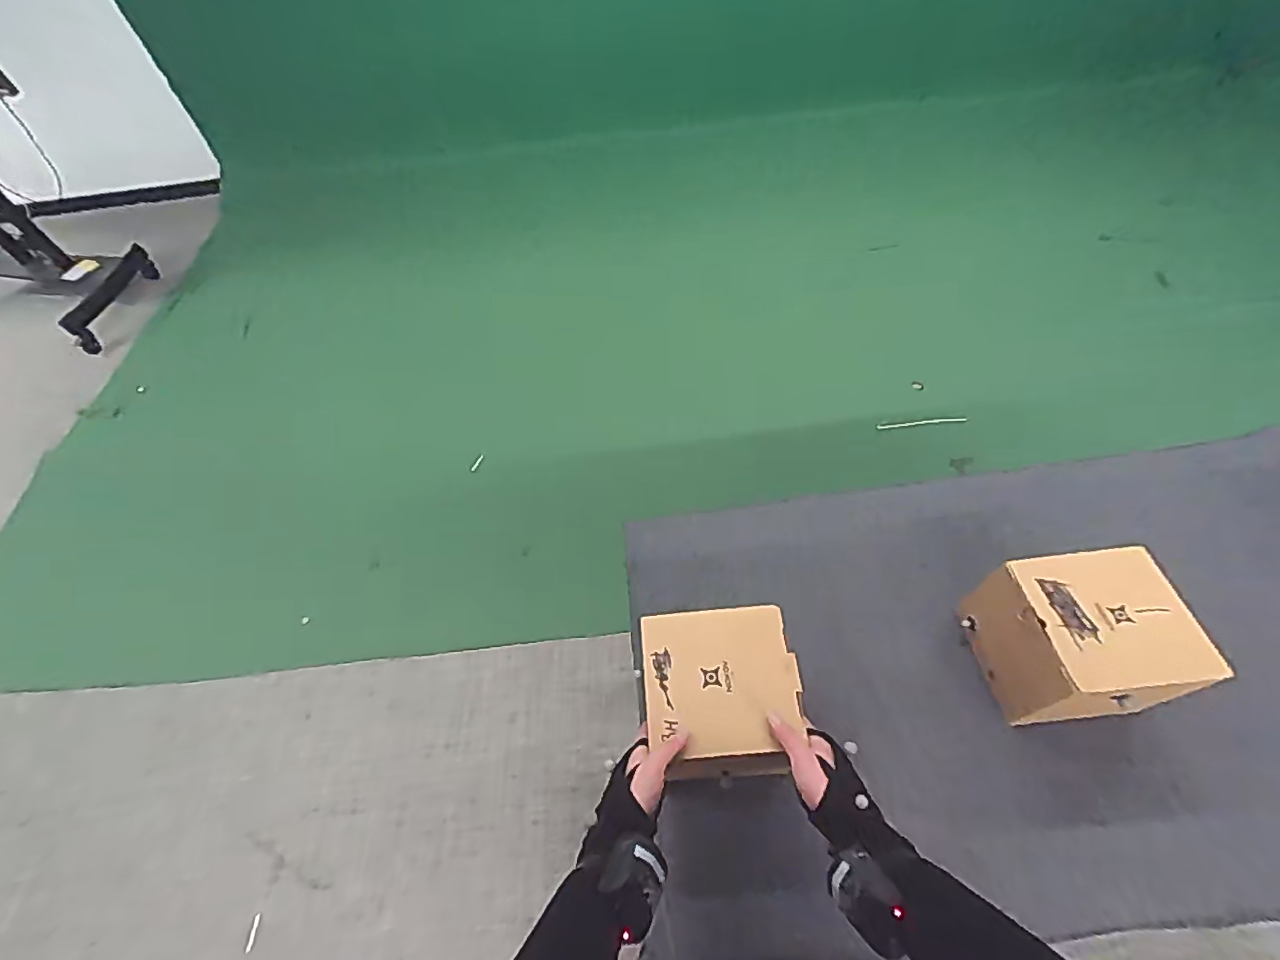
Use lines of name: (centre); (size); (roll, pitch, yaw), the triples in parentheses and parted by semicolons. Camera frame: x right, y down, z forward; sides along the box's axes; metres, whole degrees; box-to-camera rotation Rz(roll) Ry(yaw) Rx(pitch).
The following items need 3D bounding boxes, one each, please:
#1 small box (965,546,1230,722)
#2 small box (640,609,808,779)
small box: (0.557, 0.204, 0.699); (0.179, 0.176, 0.168); (-6, 55, 0)
small box: (0.093, 0.274, 0.684); (0.179, 0.176, 0.168); (-4, 55, 1)
